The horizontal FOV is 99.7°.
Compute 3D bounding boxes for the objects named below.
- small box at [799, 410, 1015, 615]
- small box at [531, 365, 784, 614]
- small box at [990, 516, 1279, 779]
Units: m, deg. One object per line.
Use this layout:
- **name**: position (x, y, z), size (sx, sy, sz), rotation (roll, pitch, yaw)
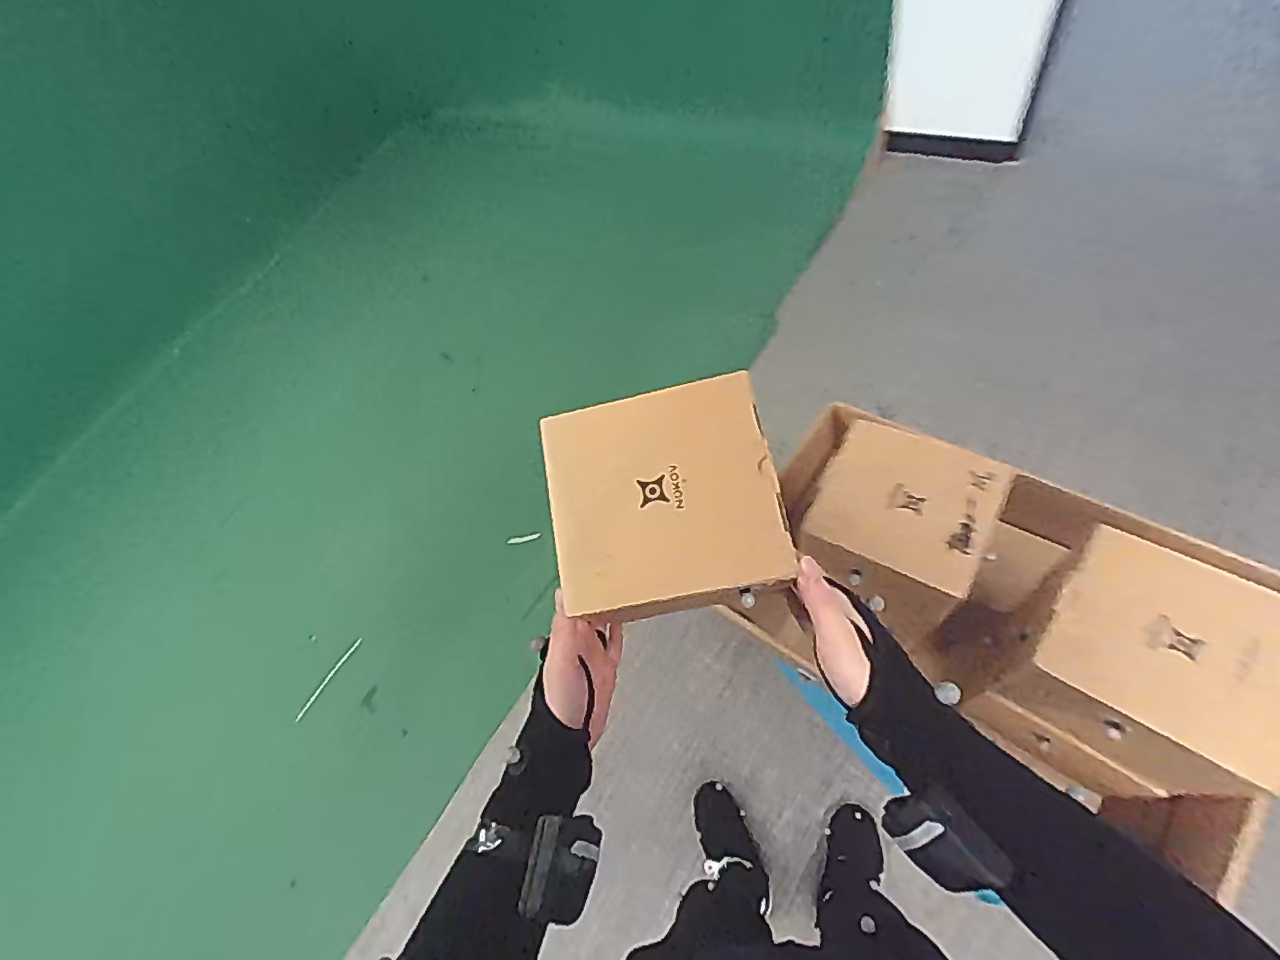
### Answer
- **small box**: position (0.313, 0.046, 0.665), size (0.179, 0.176, 0.168), rotation (25, 74, 26)
- **small box**: position (0.021, 0.024, 0.491), size (0.179, 0.176, 0.168), rotation (-13, 73, 6)
- **small box**: position (0.492, 0.171, 0.543), size (0.179, 0.176, 0.168), rotation (31, 77, 29)
